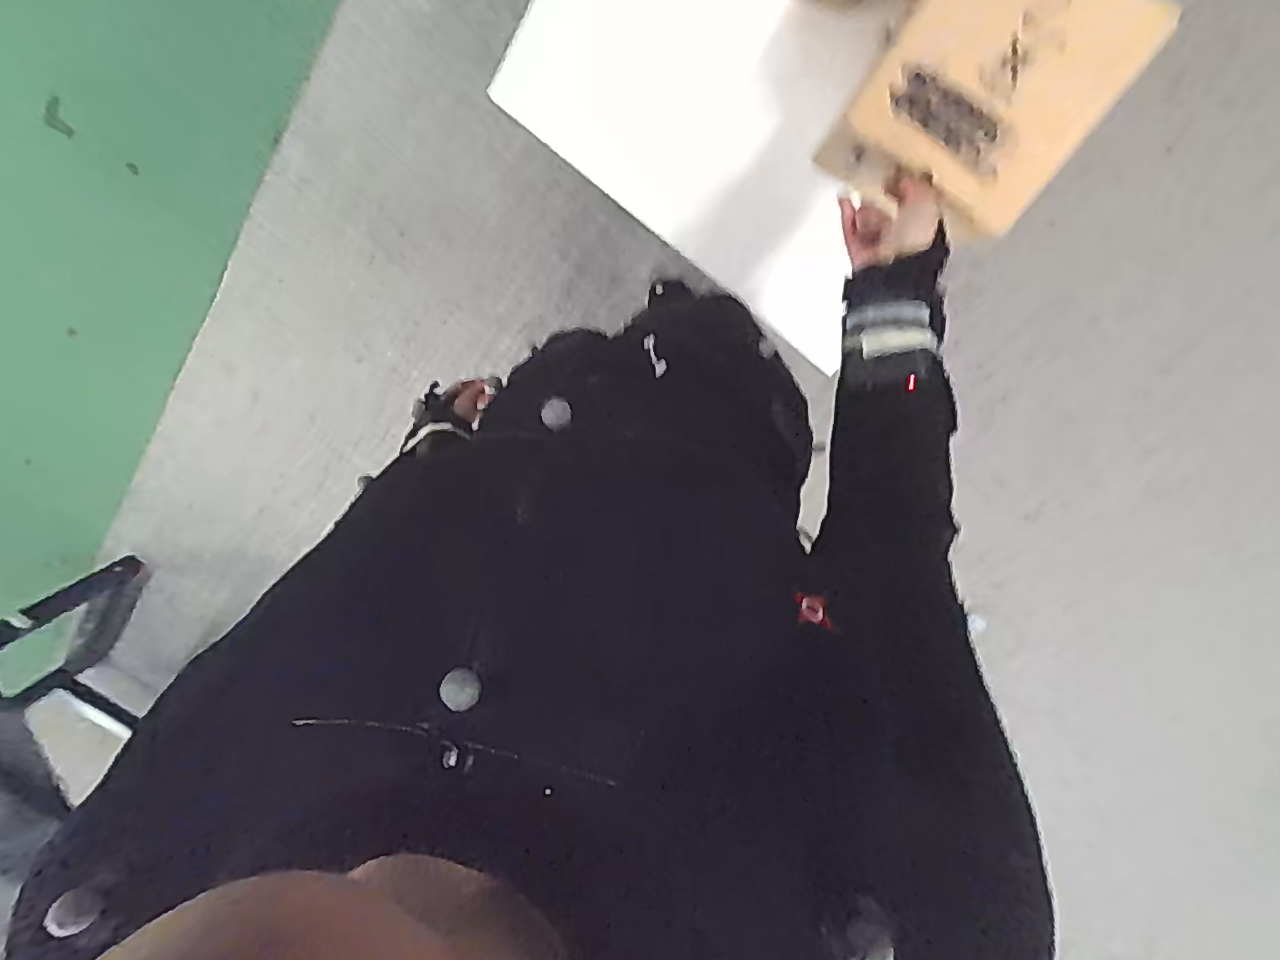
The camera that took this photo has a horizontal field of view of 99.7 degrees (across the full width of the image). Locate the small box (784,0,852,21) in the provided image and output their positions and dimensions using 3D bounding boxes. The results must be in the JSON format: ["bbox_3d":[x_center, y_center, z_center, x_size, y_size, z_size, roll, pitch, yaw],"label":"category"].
[{"bbox_3d":[0.145,-0.526,0.435,0.168,0.176,0.179,21,112,-3],"label":"small box"}]
